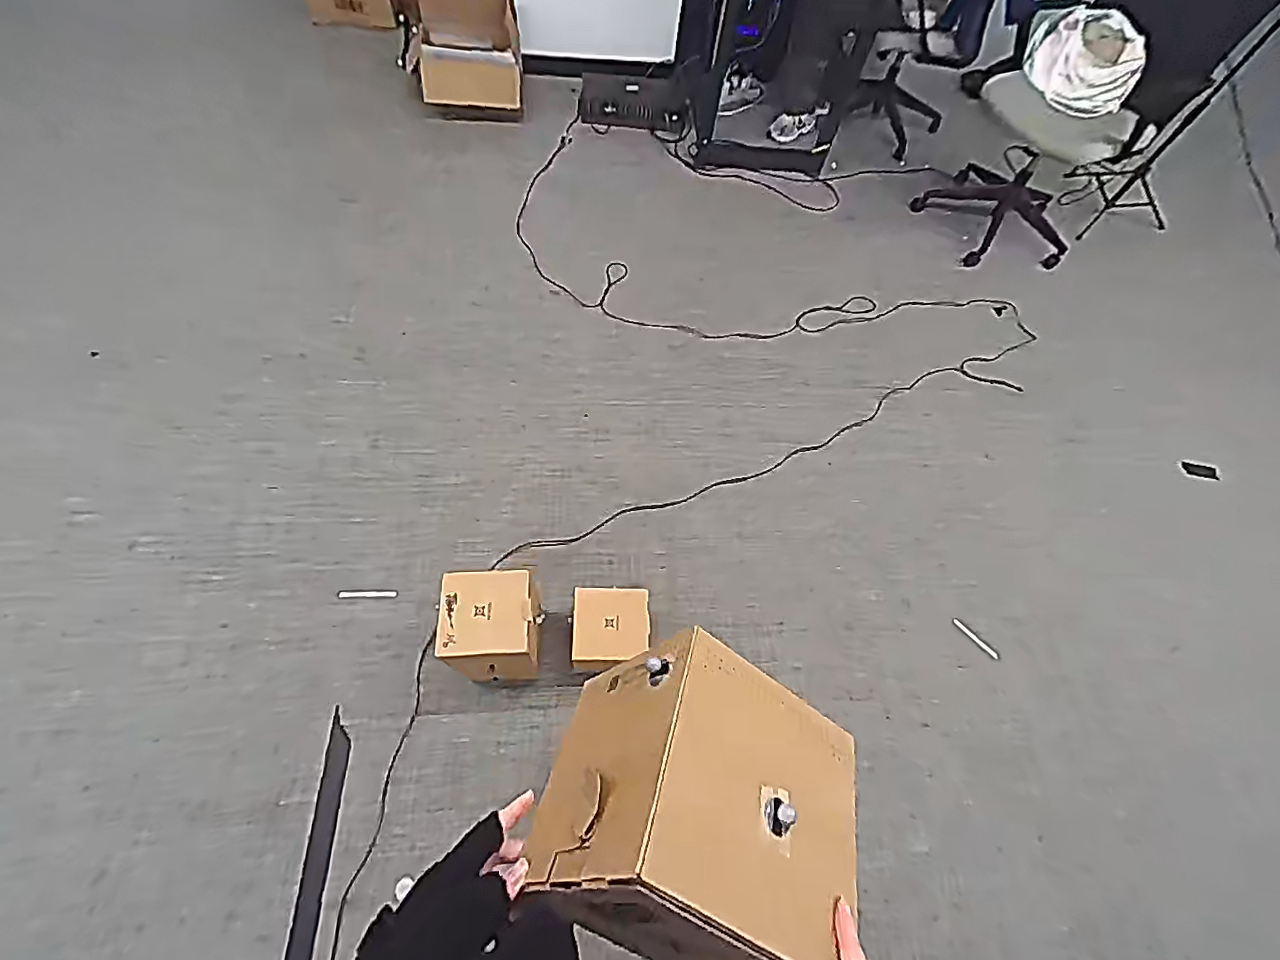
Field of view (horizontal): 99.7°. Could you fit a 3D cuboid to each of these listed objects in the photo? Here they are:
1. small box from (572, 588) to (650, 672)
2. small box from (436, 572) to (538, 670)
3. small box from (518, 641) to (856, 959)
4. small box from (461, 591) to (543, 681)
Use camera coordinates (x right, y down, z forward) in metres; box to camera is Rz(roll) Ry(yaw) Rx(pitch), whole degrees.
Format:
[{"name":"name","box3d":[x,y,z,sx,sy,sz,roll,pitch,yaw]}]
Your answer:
[{"name":"small box","box3d":[-0.072,0.366,1.302,0.179,0.176,0.168,3,62,-6]},{"name":"small box","box3d":[-0.307,0.296,1.126,0.179,0.176,0.168,0,62,-6]},{"name":"small box","box3d":[0.043,0.248,0.424,0.179,0.168,0.176,38,42,-12]},{"name":"small box","box3d":[-0.320,0.368,1.272,0.168,0.176,0.179,0,63,-5]}]
